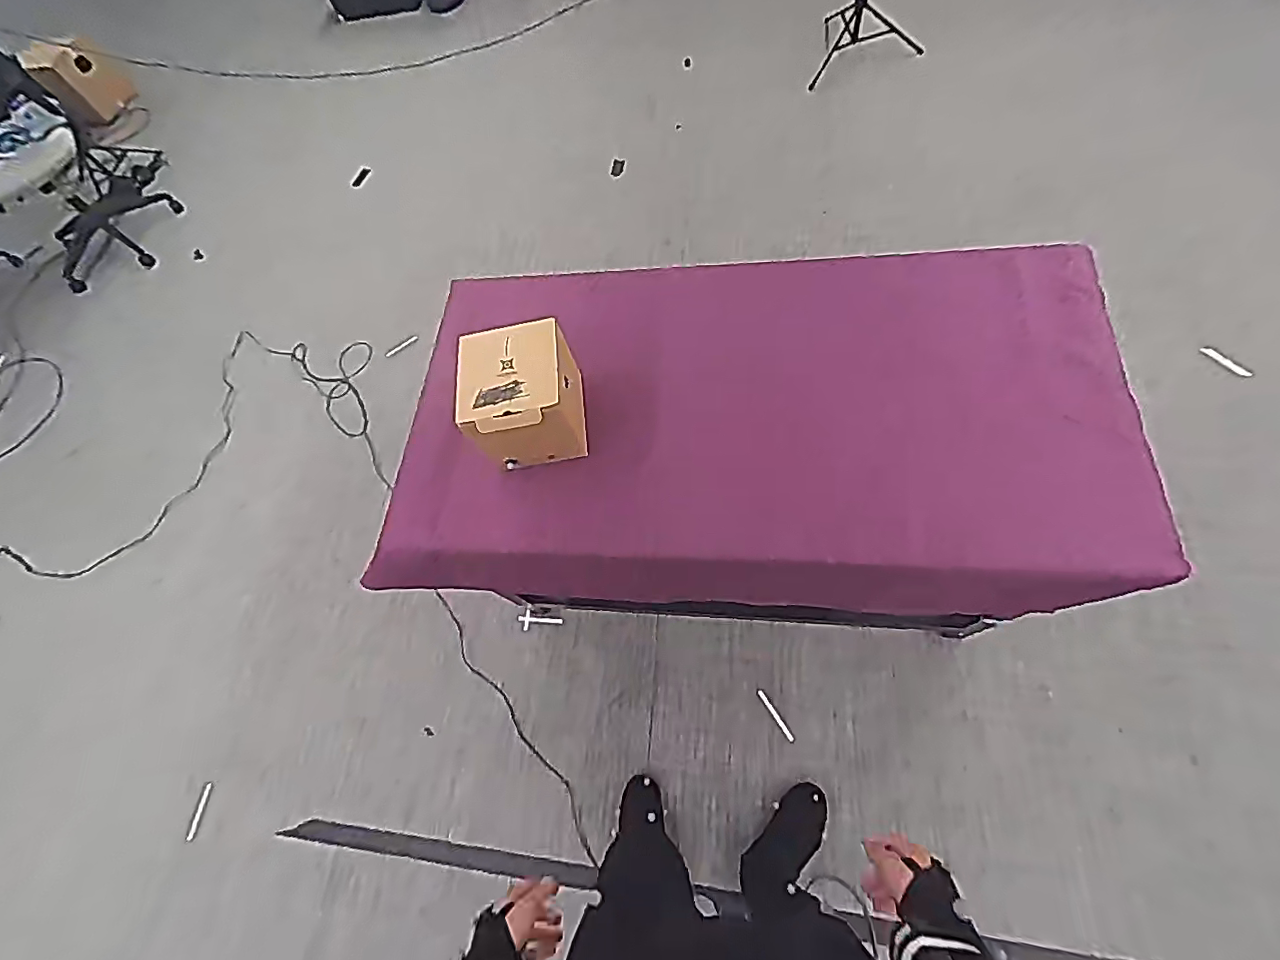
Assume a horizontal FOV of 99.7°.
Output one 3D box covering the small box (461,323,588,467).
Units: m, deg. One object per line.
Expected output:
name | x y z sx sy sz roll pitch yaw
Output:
small box | -0.190 -0.134 0.927 0.168 0.176 0.179 -10 64 5
